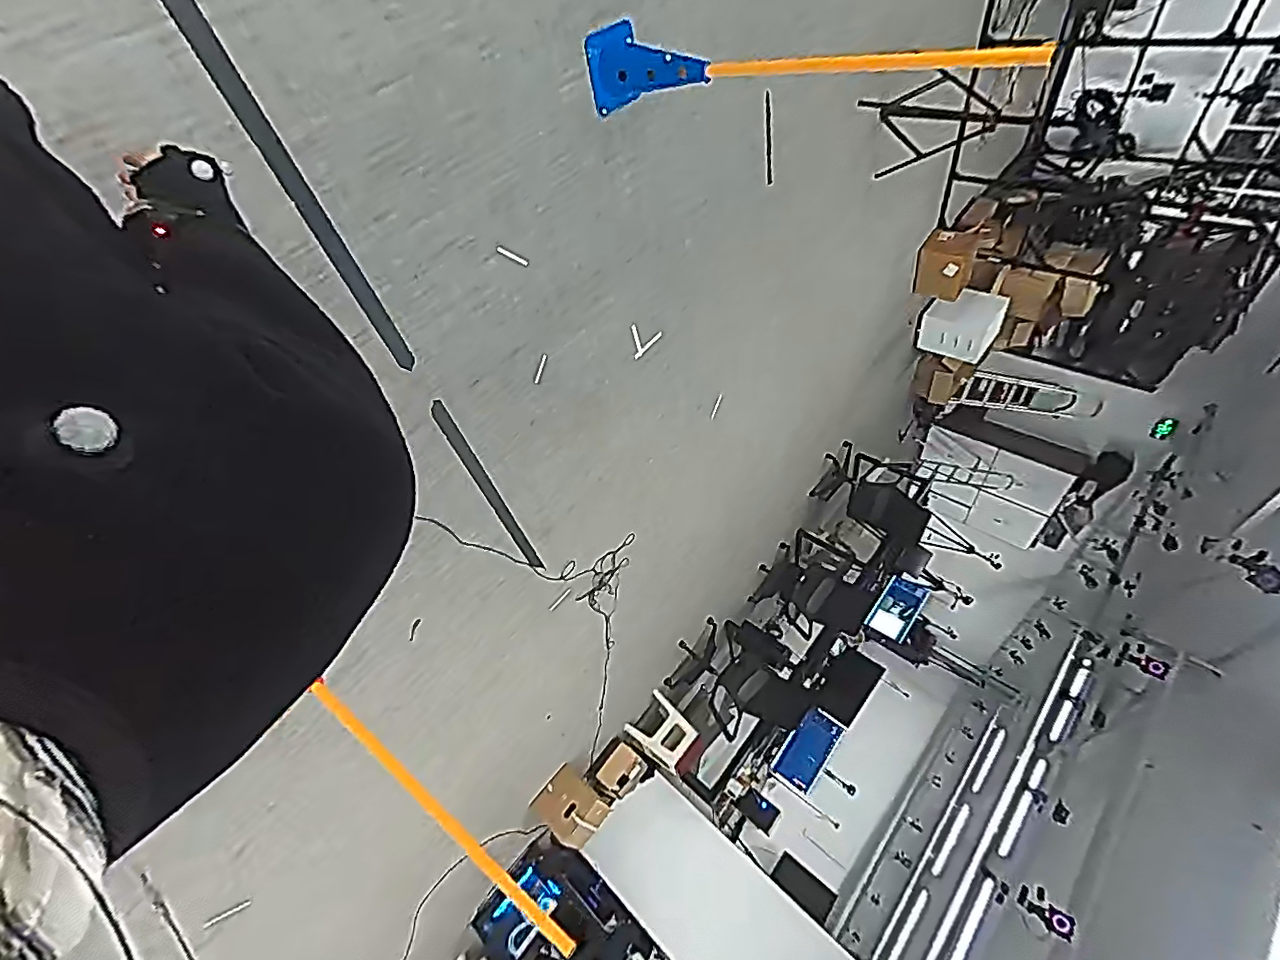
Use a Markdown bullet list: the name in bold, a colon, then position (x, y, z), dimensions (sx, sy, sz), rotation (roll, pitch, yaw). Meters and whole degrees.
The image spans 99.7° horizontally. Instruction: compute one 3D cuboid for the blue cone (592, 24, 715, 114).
- **blue cone**: position (0.053, -1.164, 1.535), dimensions (0.193, 0.380, 0.192), rotation (-43, 145, -25)
